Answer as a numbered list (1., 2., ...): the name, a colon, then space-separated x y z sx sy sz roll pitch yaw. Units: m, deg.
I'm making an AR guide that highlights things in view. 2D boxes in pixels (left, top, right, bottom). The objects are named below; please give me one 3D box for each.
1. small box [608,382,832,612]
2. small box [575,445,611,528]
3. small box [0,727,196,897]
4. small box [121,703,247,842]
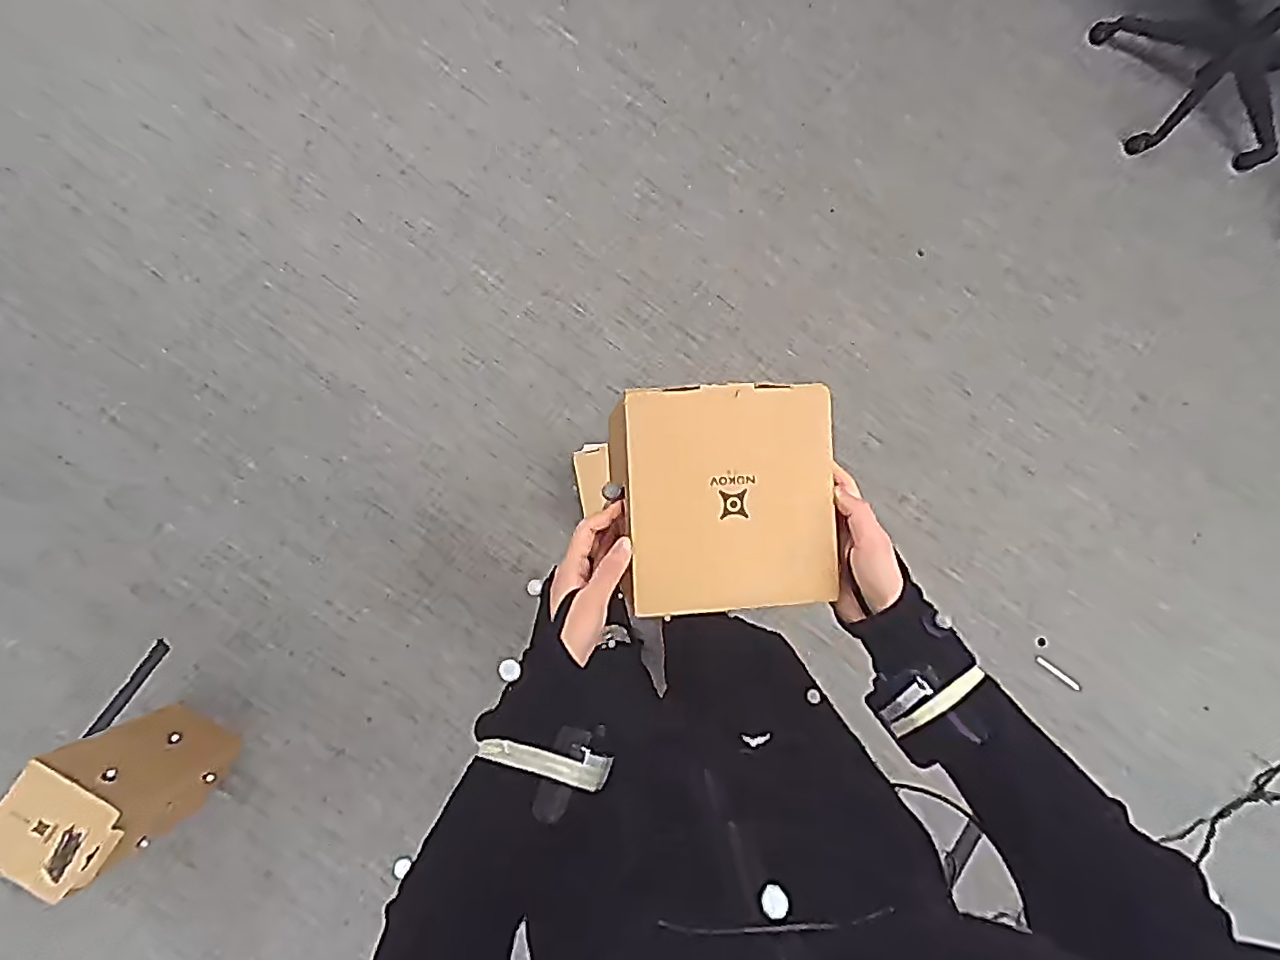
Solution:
1. small box: 0.059 0.012 0.500 0.168 0.176 0.179 -3 89 -7
2. small box: -0.059 0.014 1.279 0.168 0.176 0.179 -11 85 -7
3. small box: -0.964 0.576 0.967 0.179 0.176 0.168 32 82 -1
4. small box: -0.984 0.596 1.130 0.179 0.176 0.168 30 81 -1
